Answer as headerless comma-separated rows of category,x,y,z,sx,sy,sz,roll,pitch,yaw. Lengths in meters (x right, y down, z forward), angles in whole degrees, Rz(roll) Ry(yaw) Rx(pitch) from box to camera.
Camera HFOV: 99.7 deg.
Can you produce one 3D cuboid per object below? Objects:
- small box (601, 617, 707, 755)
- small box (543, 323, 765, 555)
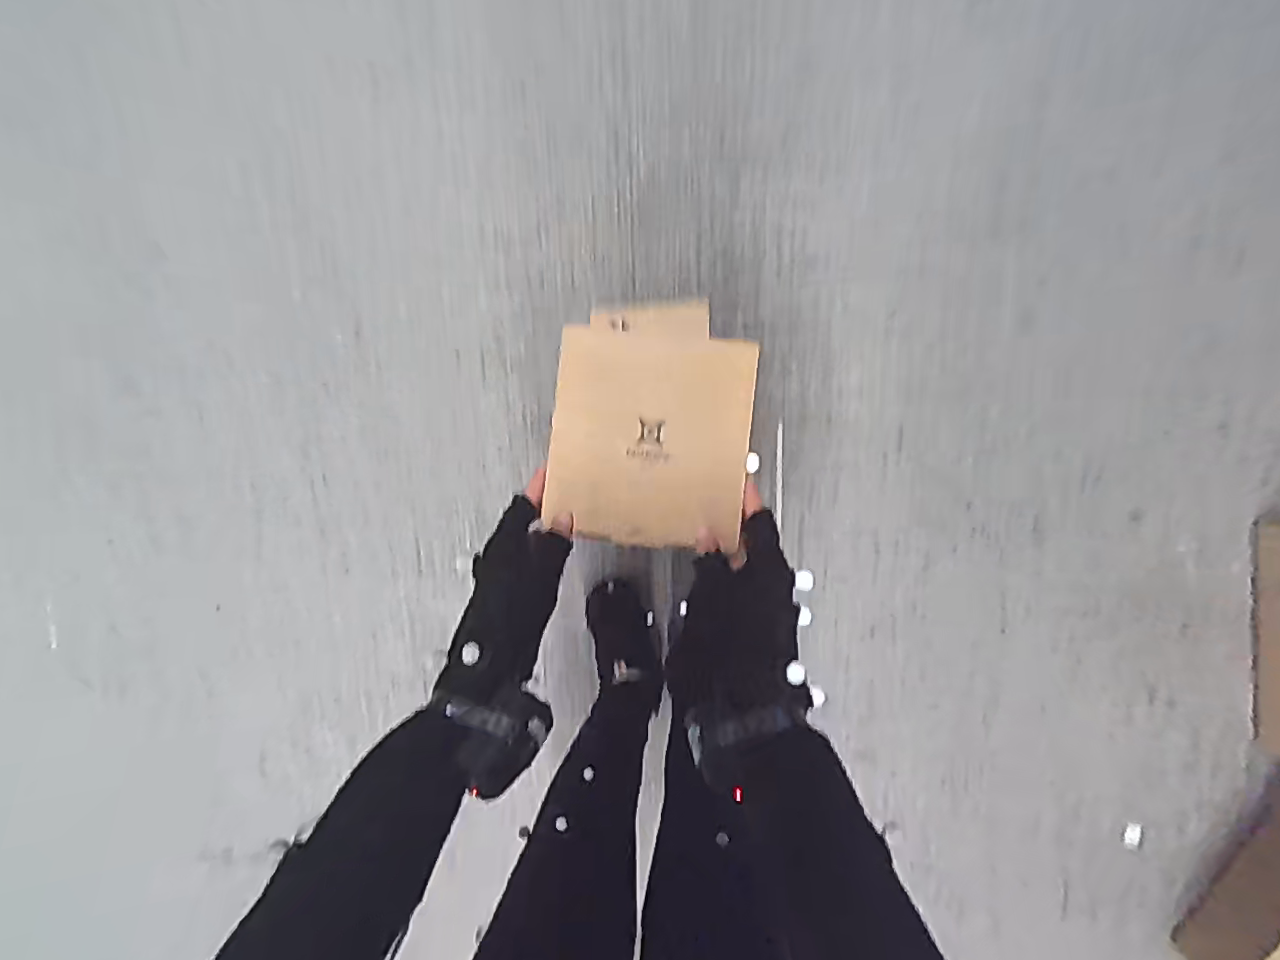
small box,0.017,0.368,0.981,0.168,0.176,0.179,3,99,-7
small box,0.013,-0.030,0.517,0.168,0.176,0.179,6,87,2
